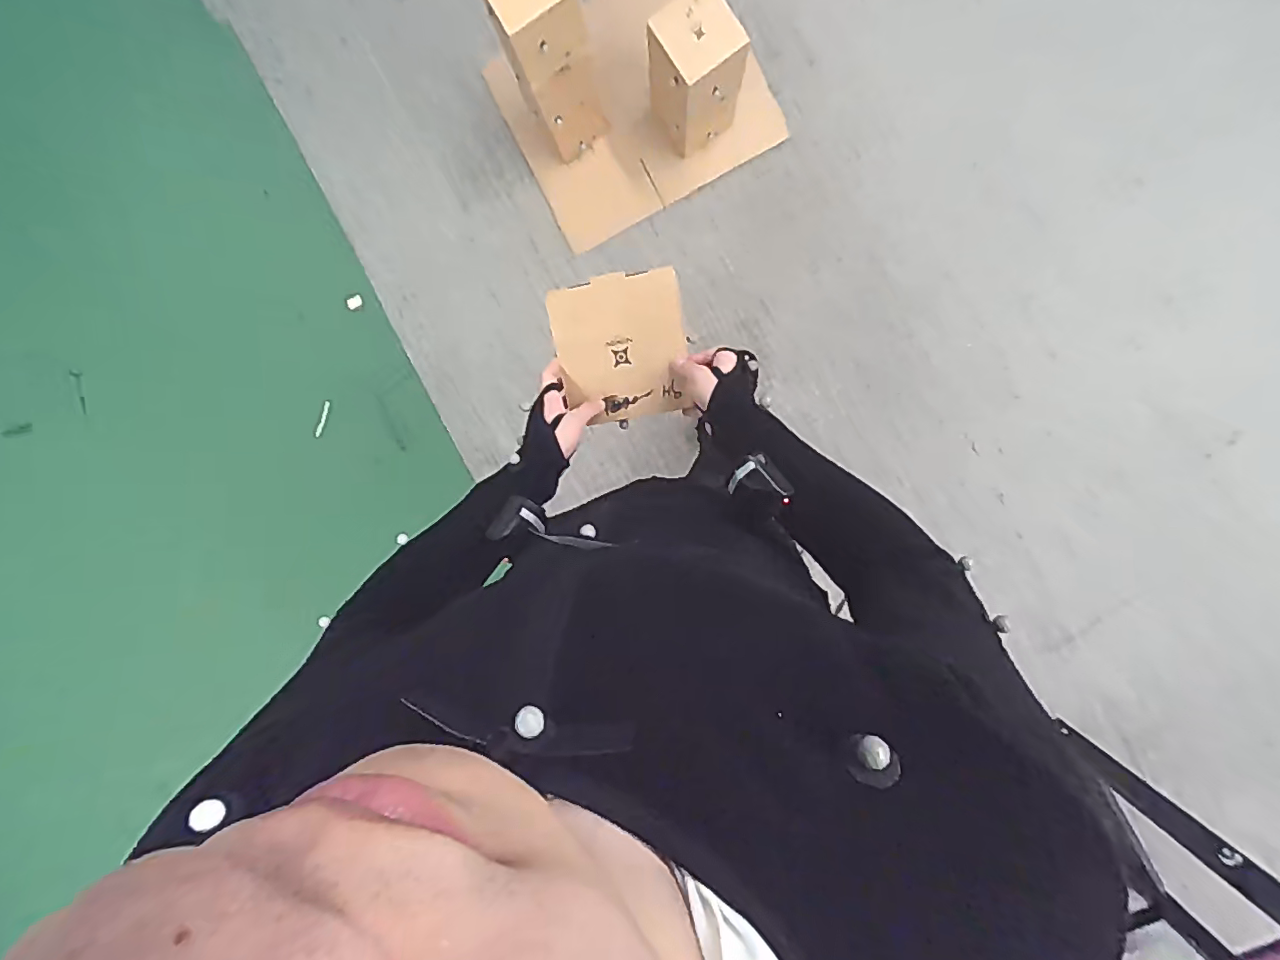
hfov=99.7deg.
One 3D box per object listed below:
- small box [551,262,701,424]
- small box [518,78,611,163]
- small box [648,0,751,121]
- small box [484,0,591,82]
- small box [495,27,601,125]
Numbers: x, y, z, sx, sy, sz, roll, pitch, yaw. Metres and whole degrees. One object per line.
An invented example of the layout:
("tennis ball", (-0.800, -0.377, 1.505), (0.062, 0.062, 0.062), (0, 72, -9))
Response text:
("small box", (-0.011, -0.184, 0.752), (0.168, 0.176, 0.179), (-9, 102, 8))
("small box", (-0.197, -1.012, 1.464), (0.168, 0.176, 0.179), (-34, 91, 6))
("small box", (0.138, -0.990, 1.267), (0.168, 0.176, 0.179), (-33, 91, 5))
("small box", (-0.222, -0.993, 1.140), (0.168, 0.176, 0.179), (-31, 90, 7))
("small box", (-0.211, -1.001, 1.302), (0.168, 0.176, 0.179), (-31, 90, 6))
